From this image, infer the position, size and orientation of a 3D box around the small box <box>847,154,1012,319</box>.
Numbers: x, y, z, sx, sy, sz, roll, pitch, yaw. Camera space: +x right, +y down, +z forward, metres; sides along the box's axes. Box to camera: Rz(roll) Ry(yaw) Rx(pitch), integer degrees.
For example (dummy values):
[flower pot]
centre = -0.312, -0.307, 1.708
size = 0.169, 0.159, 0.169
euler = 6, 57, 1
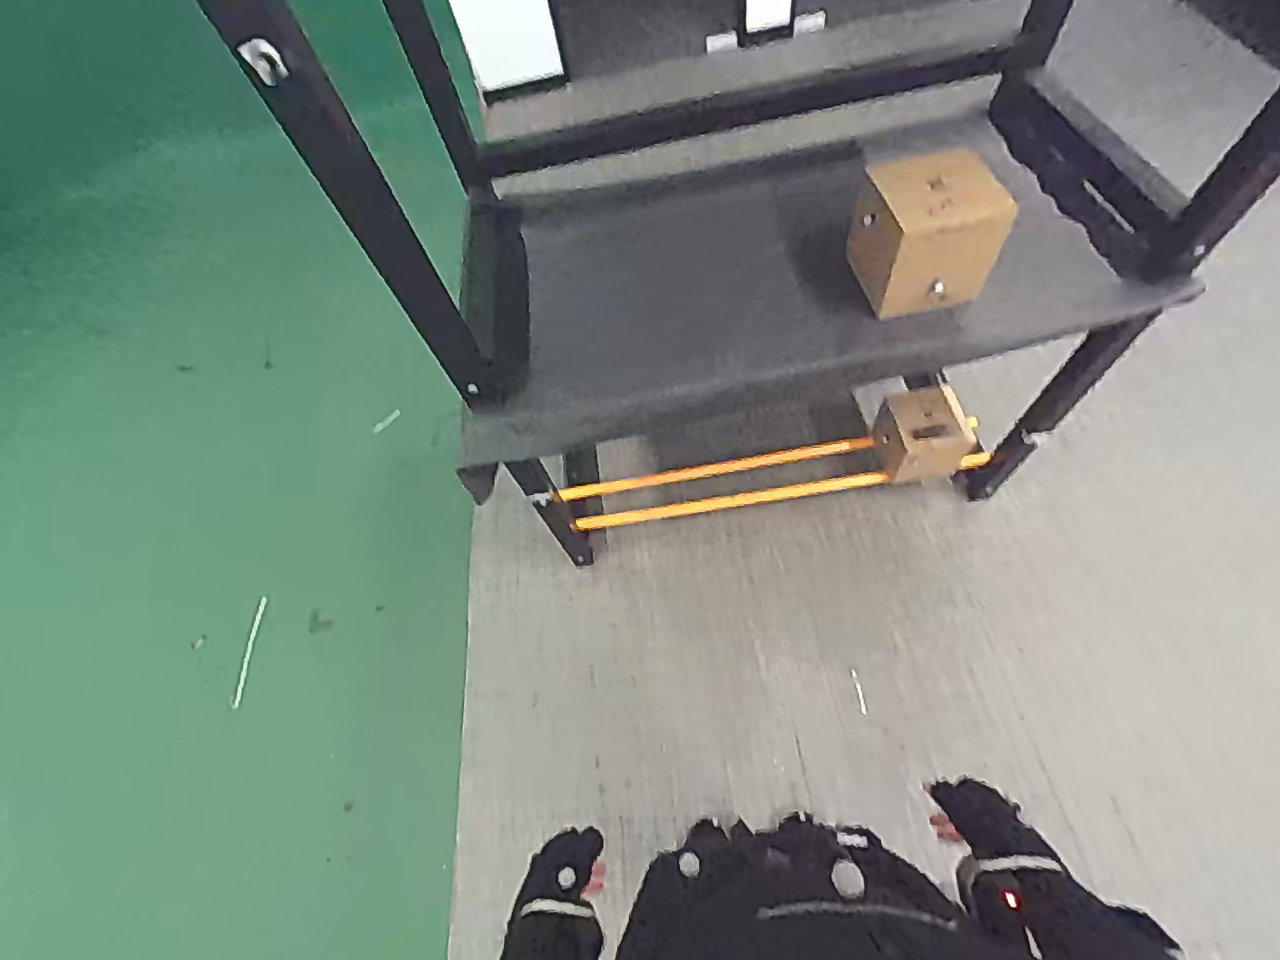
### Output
[small box]
centre = 0.461, -0.399, 0.899
size = 0.168, 0.176, 0.179
euler = -11, 58, 4
